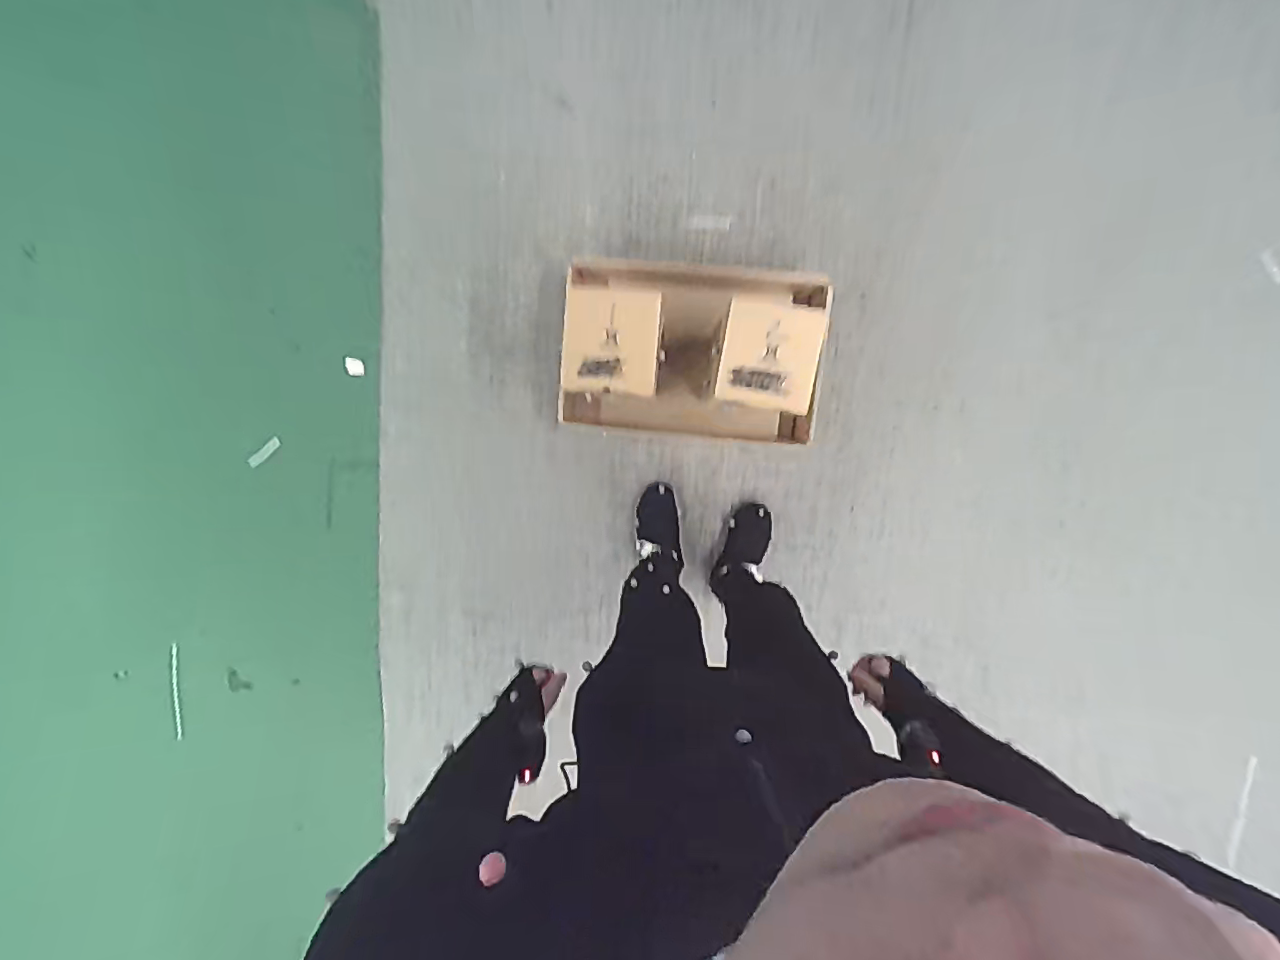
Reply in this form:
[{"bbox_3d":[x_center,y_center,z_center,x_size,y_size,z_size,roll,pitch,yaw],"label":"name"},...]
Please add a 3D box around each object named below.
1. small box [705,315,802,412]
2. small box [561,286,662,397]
[{"bbox_3d":[0.234,-0.244,1.164,0.168,0.176,0.179,7,99,2],"label":"small box"},{"bbox_3d":[-0.047,-0.248,1.009,0.168,0.176,0.179,5,97,1],"label":"small box"}]
